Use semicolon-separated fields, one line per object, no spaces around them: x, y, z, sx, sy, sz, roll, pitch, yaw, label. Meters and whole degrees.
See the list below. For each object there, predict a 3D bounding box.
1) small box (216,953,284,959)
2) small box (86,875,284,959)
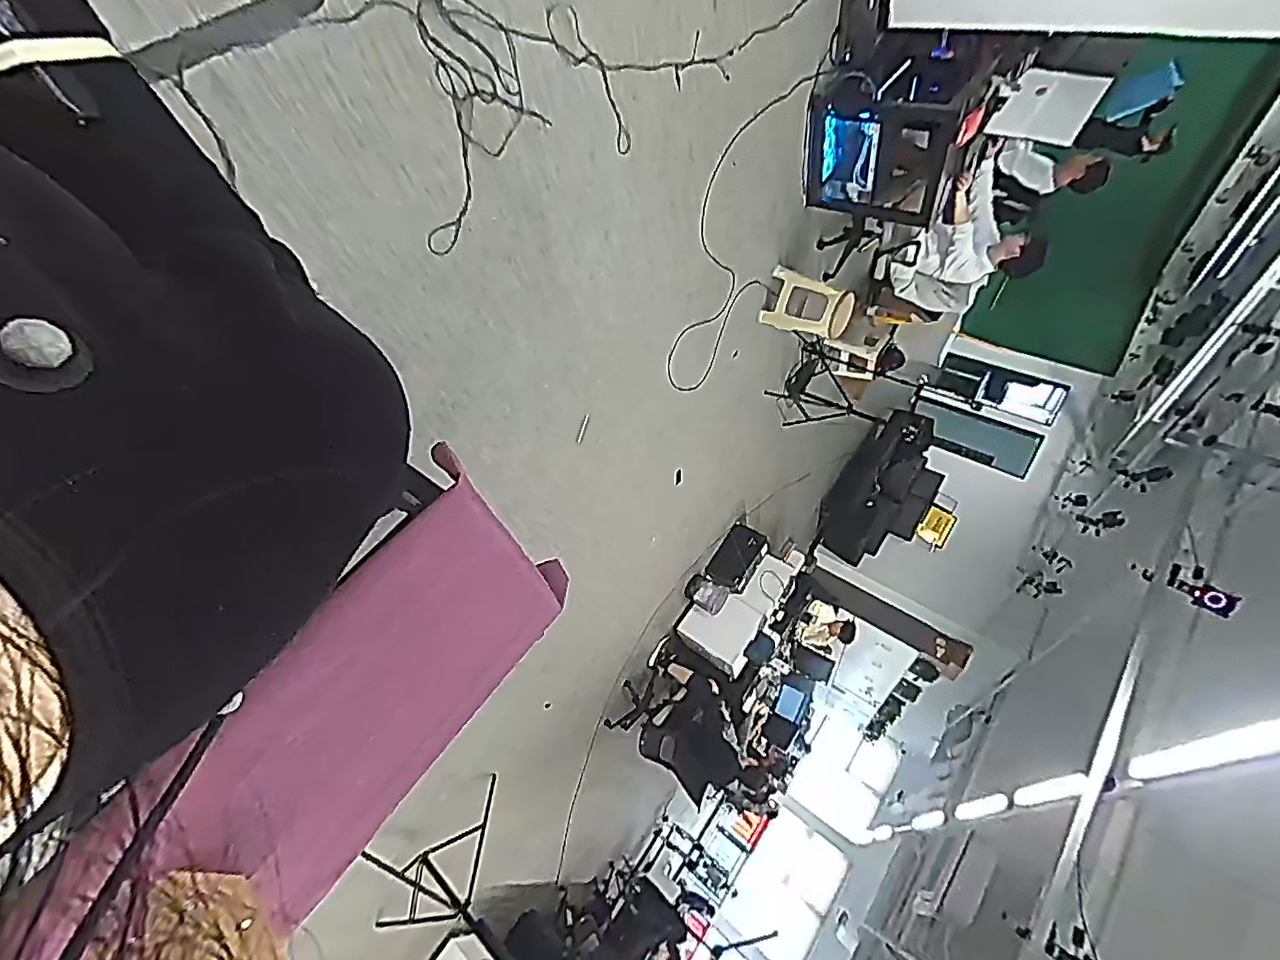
-0.625;0.859;0.811;0.168;0.176;0.179;-47;149;-26;small box
-0.750;0.794;0.894;0.168;0.176;0.179;-48;148;-24;small box
